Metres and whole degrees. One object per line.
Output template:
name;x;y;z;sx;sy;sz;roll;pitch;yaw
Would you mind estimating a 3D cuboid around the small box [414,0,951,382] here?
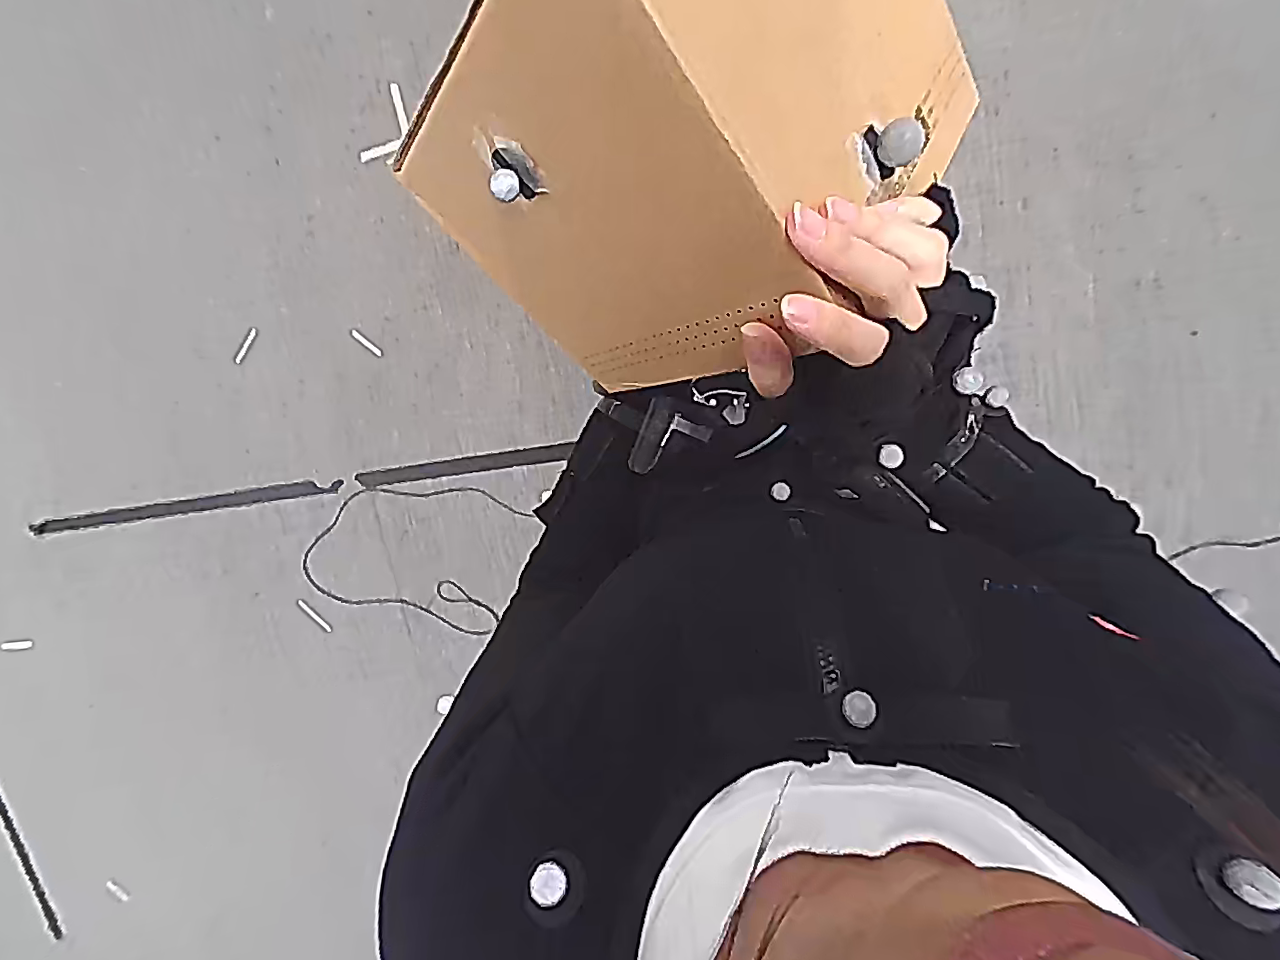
small box;0.022;-0.169;0.281;0.176;0.179;0.168;42;68;-29
